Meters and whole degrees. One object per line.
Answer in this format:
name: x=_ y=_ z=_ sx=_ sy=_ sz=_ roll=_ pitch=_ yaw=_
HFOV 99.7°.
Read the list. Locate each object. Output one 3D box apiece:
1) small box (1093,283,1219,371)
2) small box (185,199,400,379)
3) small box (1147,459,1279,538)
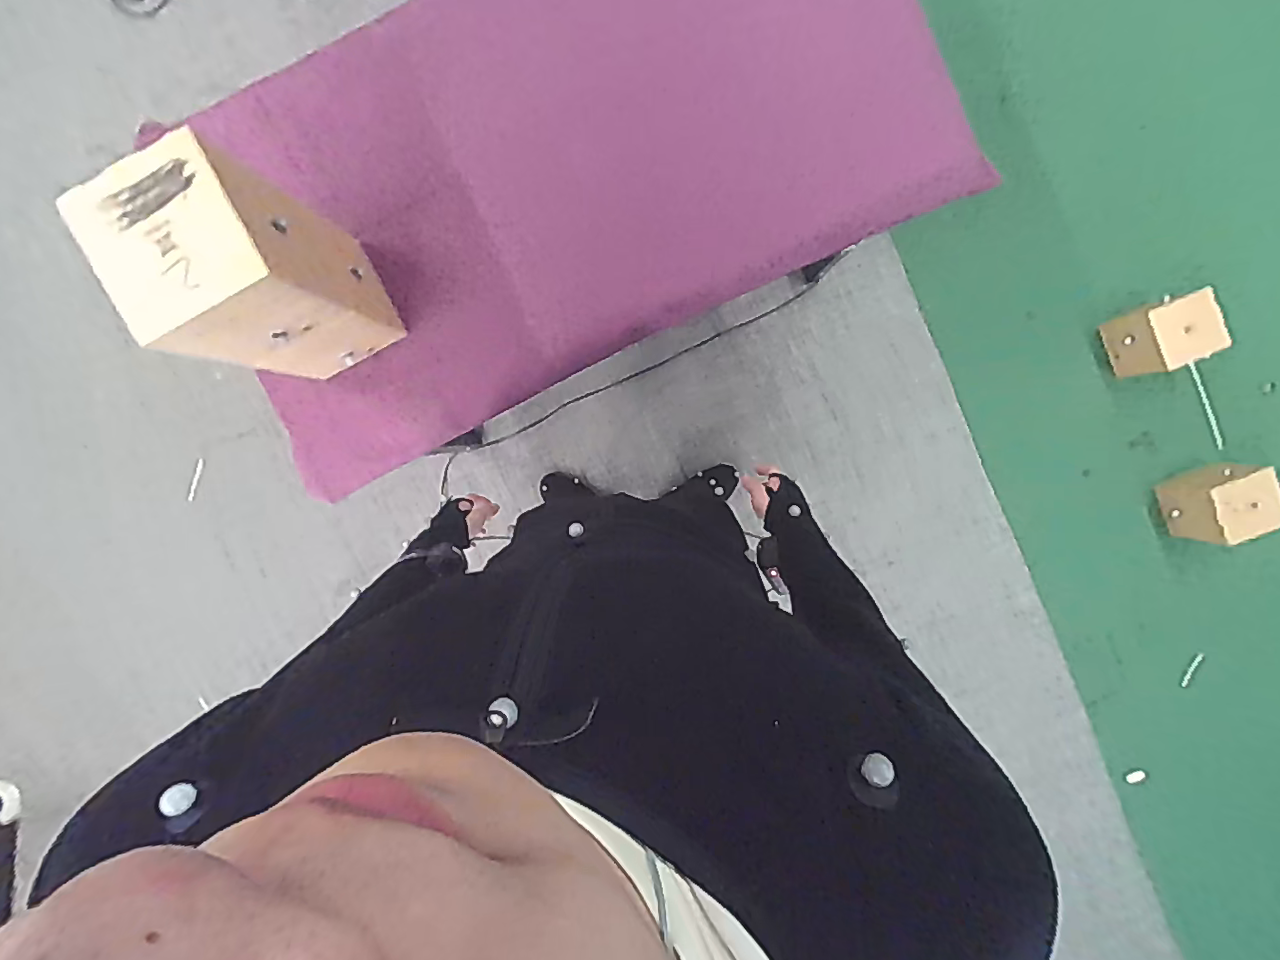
small box: x=1.421 y=-0.417 z=1.508 sx=0.179 sy=0.176 sz=0.168 roll=-24 pitch=93 yaw=1
small box: x=-0.498 y=-0.268 z=0.803 sx=0.168 sy=0.176 sz=0.179 roll=-28 pitch=94 yaw=2
small box: x=1.621 y=0.044 z=1.537 sx=0.179 sy=0.176 sz=0.168 roll=-23 pitch=94 yaw=2
